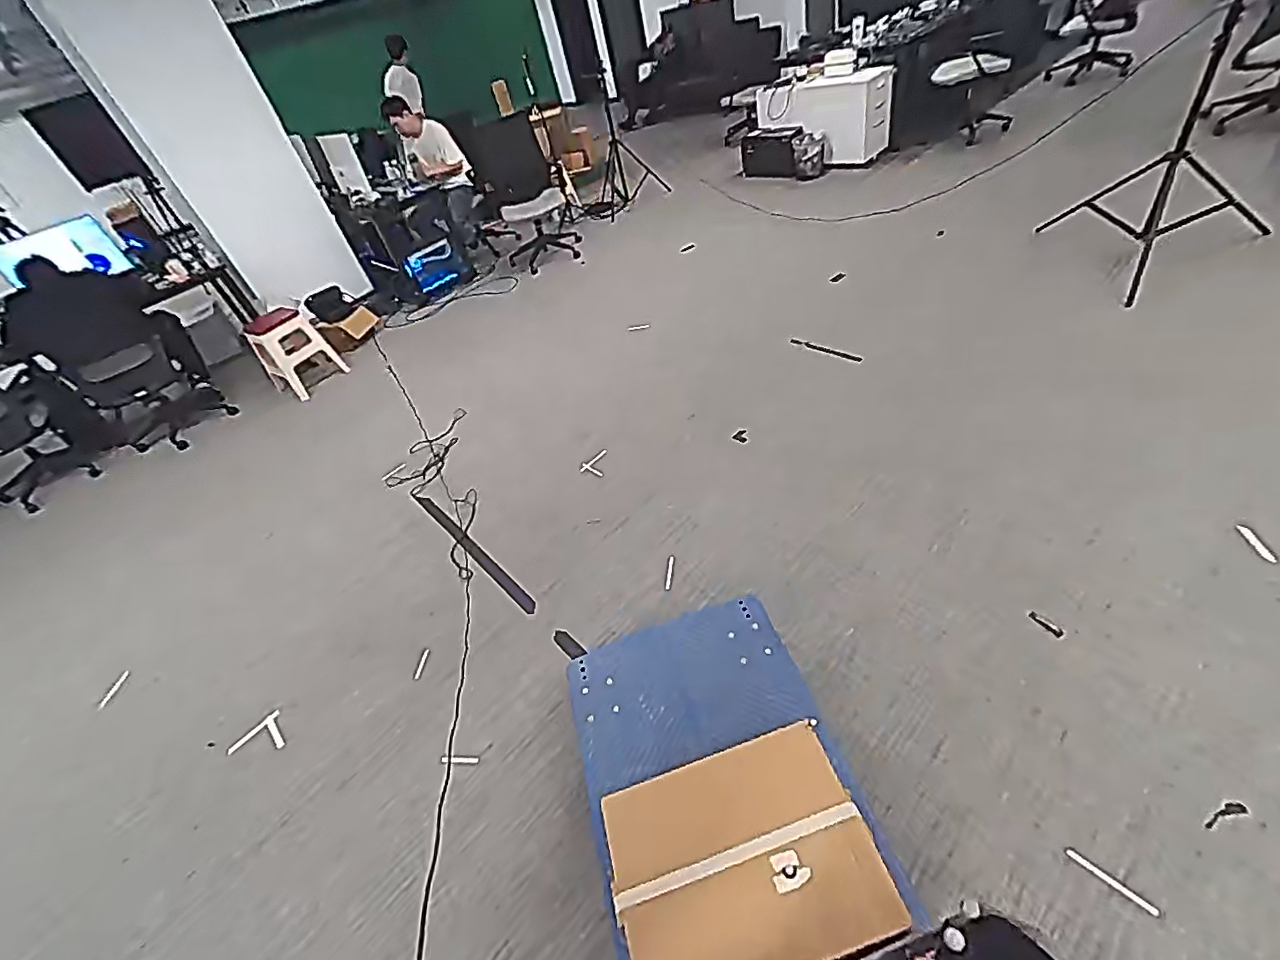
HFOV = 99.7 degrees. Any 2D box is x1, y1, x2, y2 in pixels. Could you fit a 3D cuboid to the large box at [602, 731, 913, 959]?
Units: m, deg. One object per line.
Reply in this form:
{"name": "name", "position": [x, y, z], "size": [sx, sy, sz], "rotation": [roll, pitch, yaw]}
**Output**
{"name": "large box", "position": [0.188, 0.719, 0.944], "size": [0.408, 0.320, 0.320], "rotation": [-20, 42, -3]}
